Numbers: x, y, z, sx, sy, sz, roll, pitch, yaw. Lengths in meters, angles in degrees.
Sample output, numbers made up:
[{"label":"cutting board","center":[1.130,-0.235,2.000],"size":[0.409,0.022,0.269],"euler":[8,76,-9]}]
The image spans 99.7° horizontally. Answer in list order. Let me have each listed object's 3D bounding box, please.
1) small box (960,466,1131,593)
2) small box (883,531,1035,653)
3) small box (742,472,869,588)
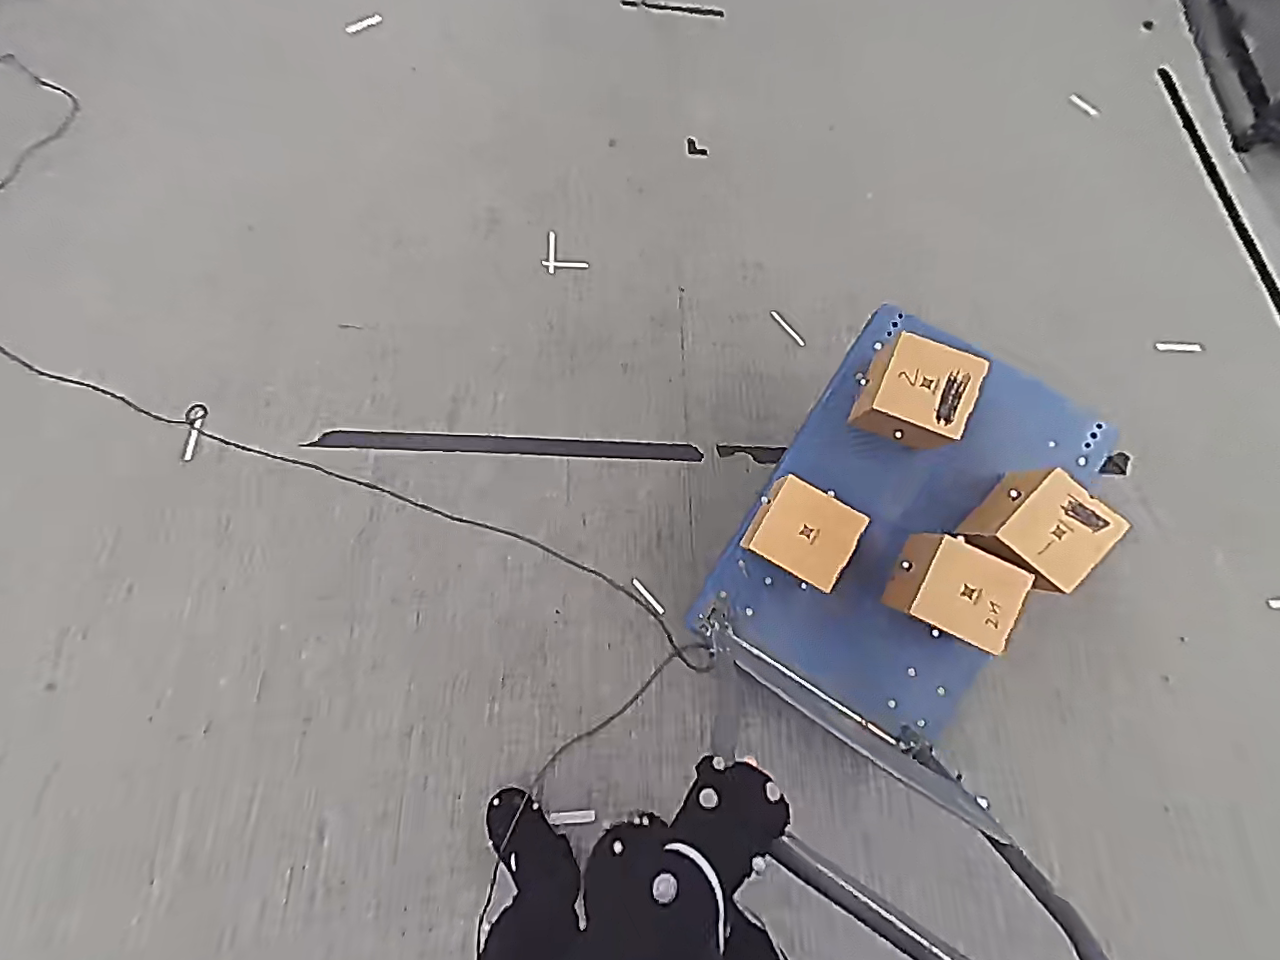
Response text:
[{"label":"small box","center":[0.780,0.094,1.065],"size":[0.168,0.176,0.179],"euler":[42,91,7]},{"label":"small box","center":[0.616,0.213,1.071],"size":[0.179,0.176,0.168],"euler":[27,89,7]},{"label":"small box","center":[0.326,0.102,1.107],"size":[0.179,0.176,0.168],"euler":[30,89,5]}]
